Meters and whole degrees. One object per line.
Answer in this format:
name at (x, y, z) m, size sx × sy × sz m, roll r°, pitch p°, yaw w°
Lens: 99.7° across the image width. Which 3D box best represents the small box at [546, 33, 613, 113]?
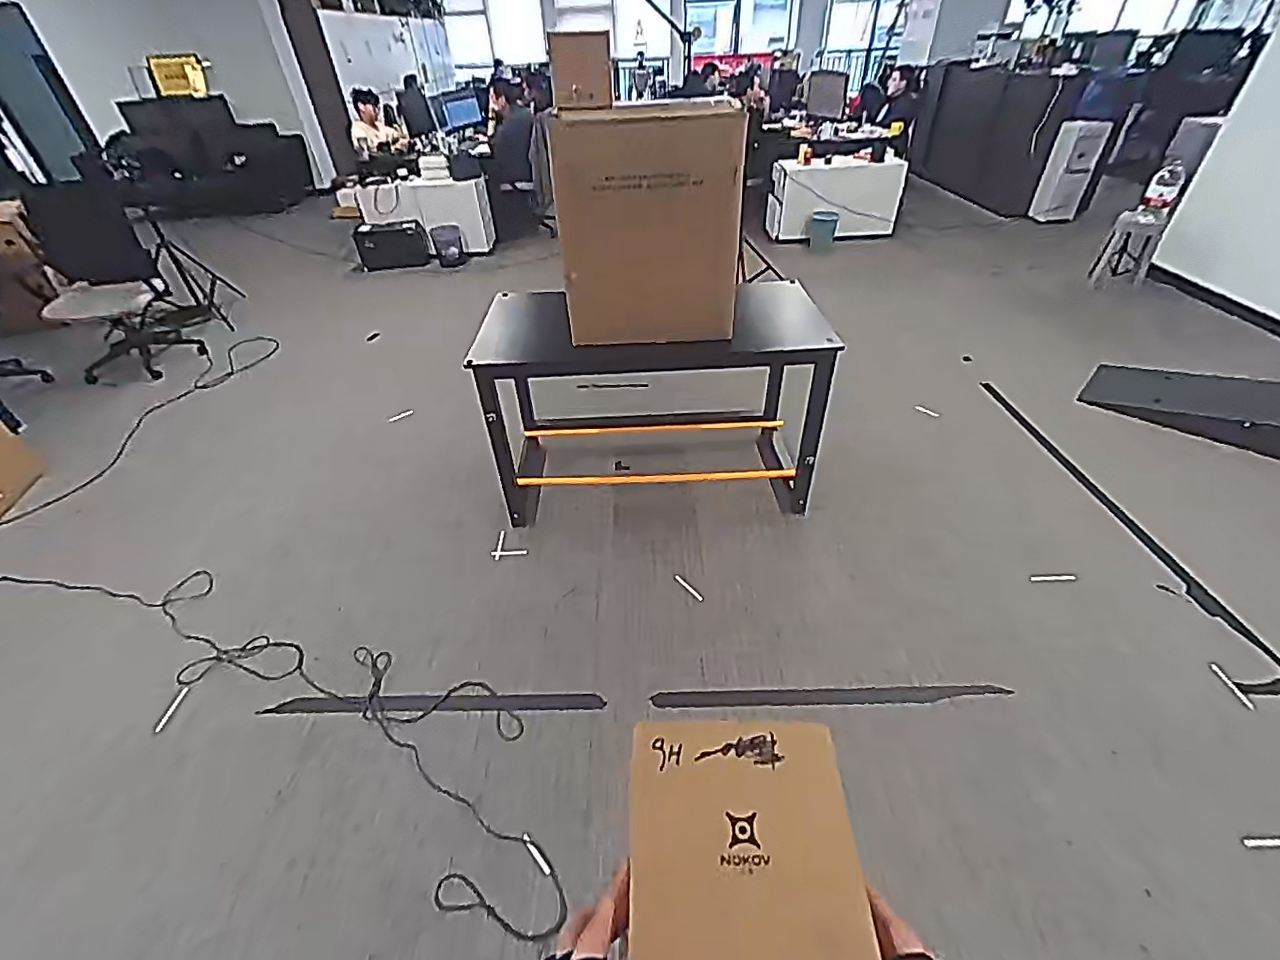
small box at (-0.165, -1.131, 1.507) m, size 0.168 × 0.176 × 0.179 m, roll -5°, pitch 39°, yaw -2°
